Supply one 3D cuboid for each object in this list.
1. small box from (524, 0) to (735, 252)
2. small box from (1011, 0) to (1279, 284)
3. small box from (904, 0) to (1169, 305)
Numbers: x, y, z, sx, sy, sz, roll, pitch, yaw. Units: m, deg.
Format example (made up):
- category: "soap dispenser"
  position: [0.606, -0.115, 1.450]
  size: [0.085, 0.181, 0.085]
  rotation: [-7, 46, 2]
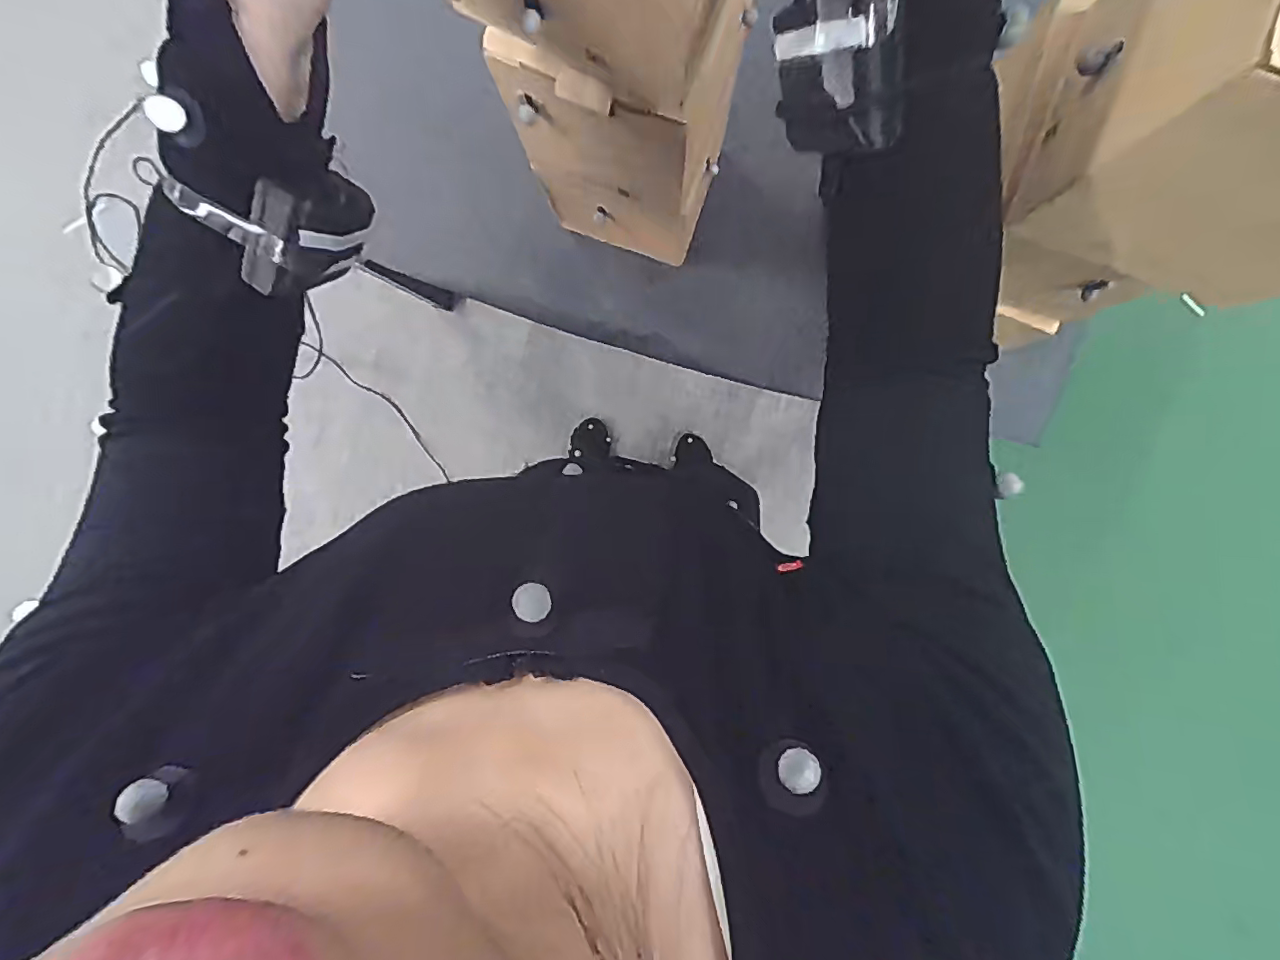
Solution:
- category: "small box"
  position: [-0.008, -0.389, 0.626]
  size: [0.179, 0.176, 0.168]
  rotation: [19, 96, 1]
- category: "small box"
  position: [0.360, -0.226, 0.292]
  size: [0.179, 0.176, 0.168]
  rotation: [20, 93, 1]
- category: "small box"
  position: [0.361, -0.261, 0.455]
  size: [0.179, 0.176, 0.168]
  rotation: [15, 93, 3]
